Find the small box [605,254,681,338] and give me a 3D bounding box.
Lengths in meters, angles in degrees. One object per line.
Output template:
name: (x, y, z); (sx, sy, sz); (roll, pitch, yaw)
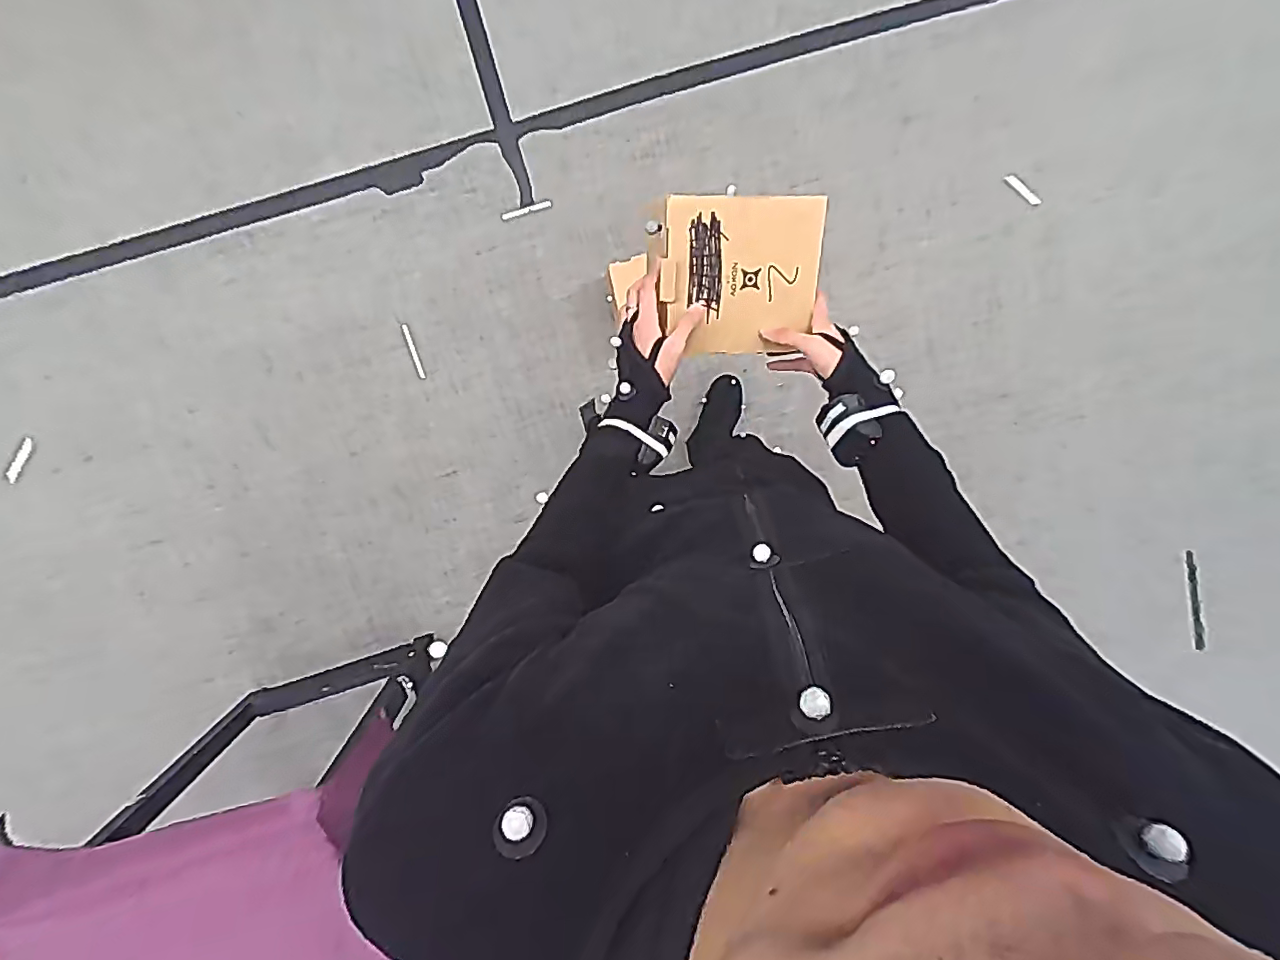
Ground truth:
small box: (0.004, -0.485, 1.452); (0.168, 0.176, 0.179); (-13, 101, -3)
